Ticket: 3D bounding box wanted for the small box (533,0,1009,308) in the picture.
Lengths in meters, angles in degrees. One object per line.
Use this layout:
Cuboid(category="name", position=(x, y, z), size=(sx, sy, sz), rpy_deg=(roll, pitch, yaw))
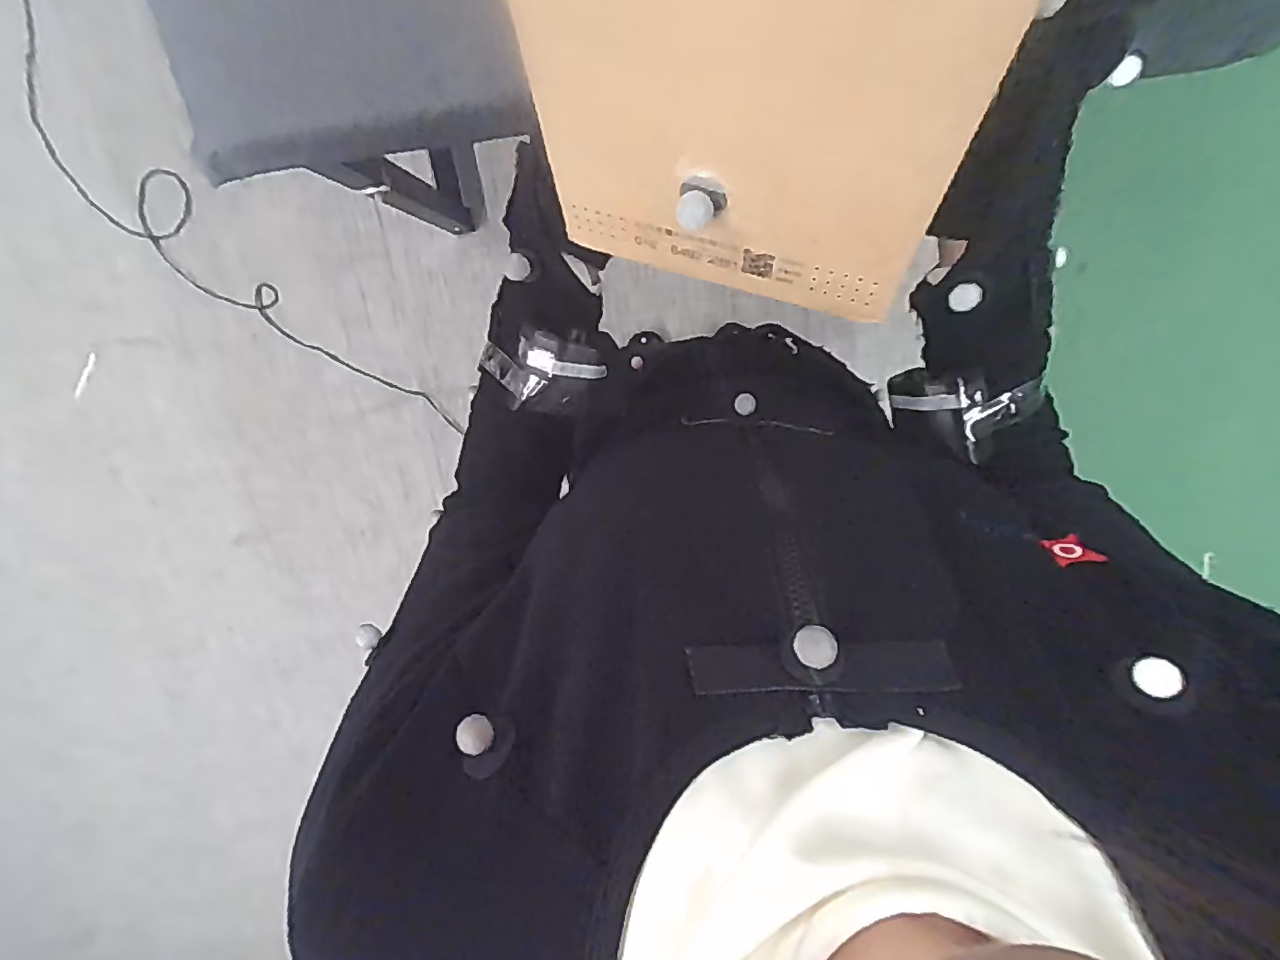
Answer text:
Cuboid(category="small box", position=(0.061, -0.211, 0.229), size=(0.168, 0.176, 0.179), rpy_deg=(21, 72, 13))
